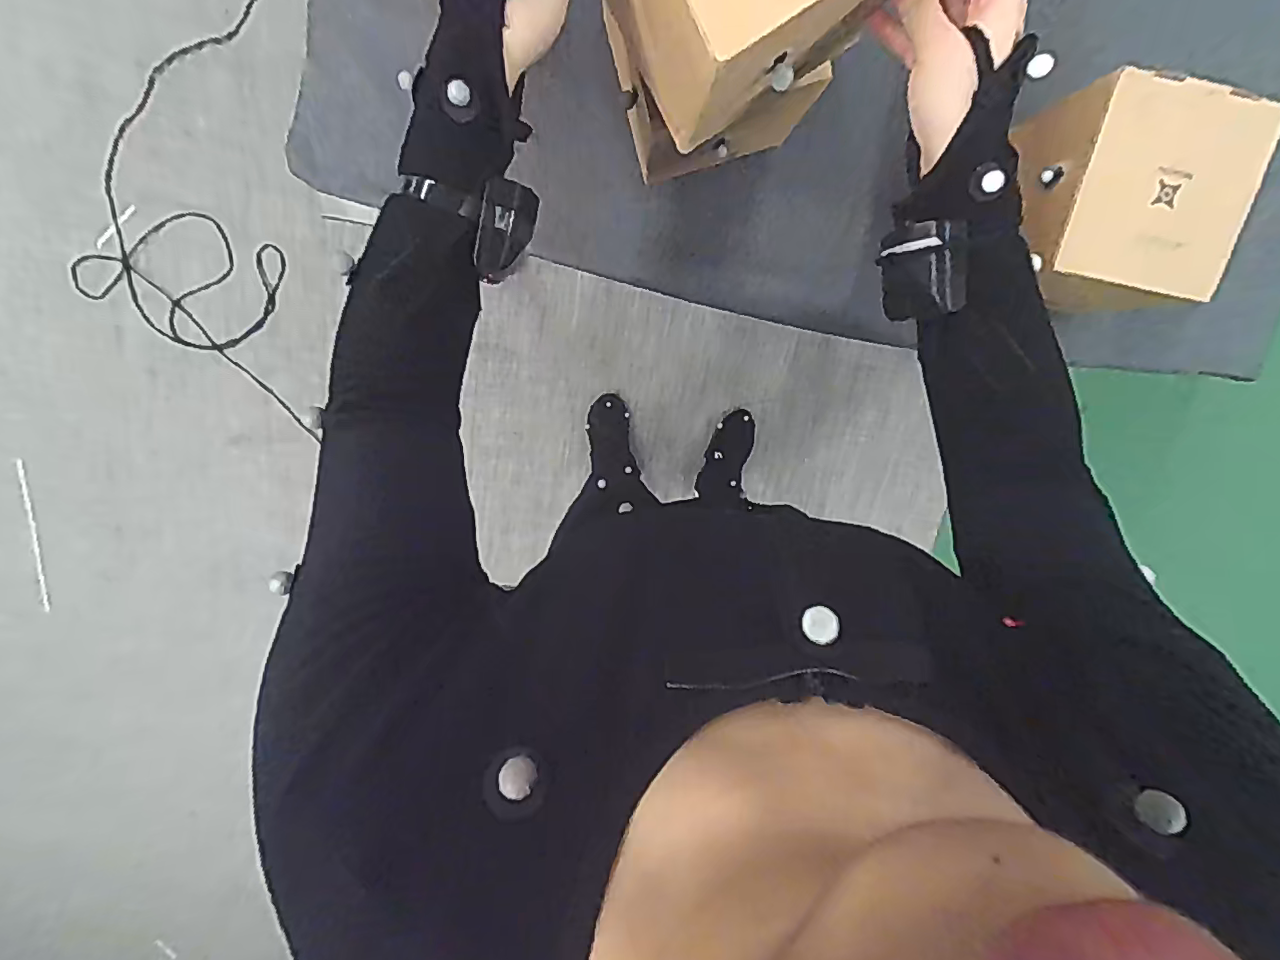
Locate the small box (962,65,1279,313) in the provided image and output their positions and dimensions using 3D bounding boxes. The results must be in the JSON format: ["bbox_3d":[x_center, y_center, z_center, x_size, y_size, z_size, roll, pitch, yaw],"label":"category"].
[{"bbox_3d":[0.483,-0.286,0.574,0.168,0.176,0.179,10,104,-2],"label":"small box"}]

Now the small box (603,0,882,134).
[{"bbox_3d":[0.063,-0.362,0.350,0.168,0.176,0.179,-30,104,6],"label":"small box"}]

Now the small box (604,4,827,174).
[{"bbox_3d":[0.063,-0.426,0.532,0.168,0.176,0.179,-15,104,3],"label":"small box"}]
